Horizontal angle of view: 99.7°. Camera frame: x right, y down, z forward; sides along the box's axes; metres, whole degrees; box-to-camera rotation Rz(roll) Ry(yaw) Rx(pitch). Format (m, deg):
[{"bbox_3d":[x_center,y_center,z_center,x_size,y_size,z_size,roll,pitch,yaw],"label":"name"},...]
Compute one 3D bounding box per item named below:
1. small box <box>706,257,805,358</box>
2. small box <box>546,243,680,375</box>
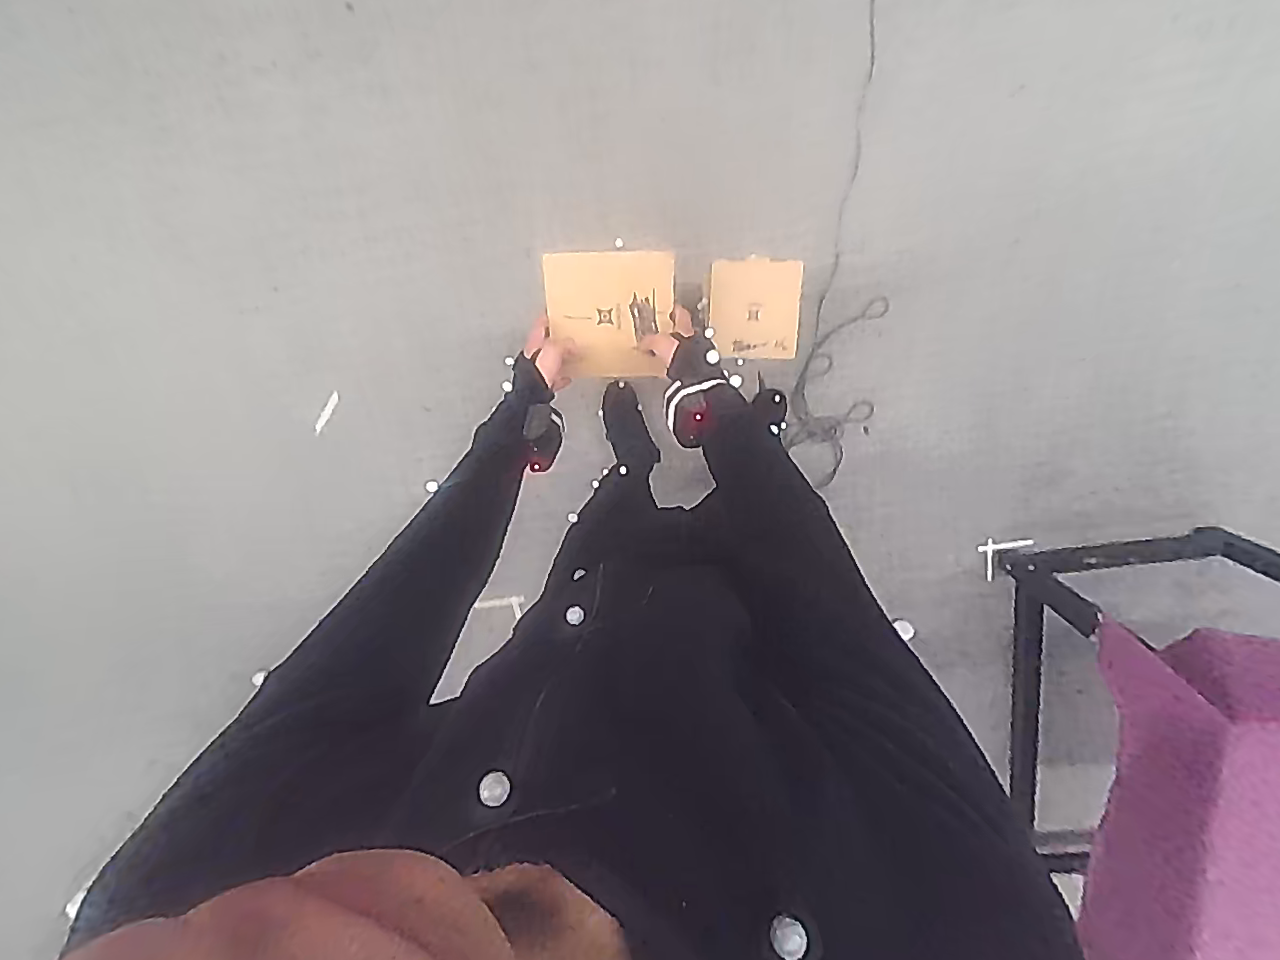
[{"bbox_3d":[0.219,-0.336,1.069,0.168,0.176,0.179,2,106,5],"label":"small box"},{"bbox_3d":[-0.034,-0.258,0.801,0.179,0.176,0.168,-1,116,2],"label":"small box"}]
